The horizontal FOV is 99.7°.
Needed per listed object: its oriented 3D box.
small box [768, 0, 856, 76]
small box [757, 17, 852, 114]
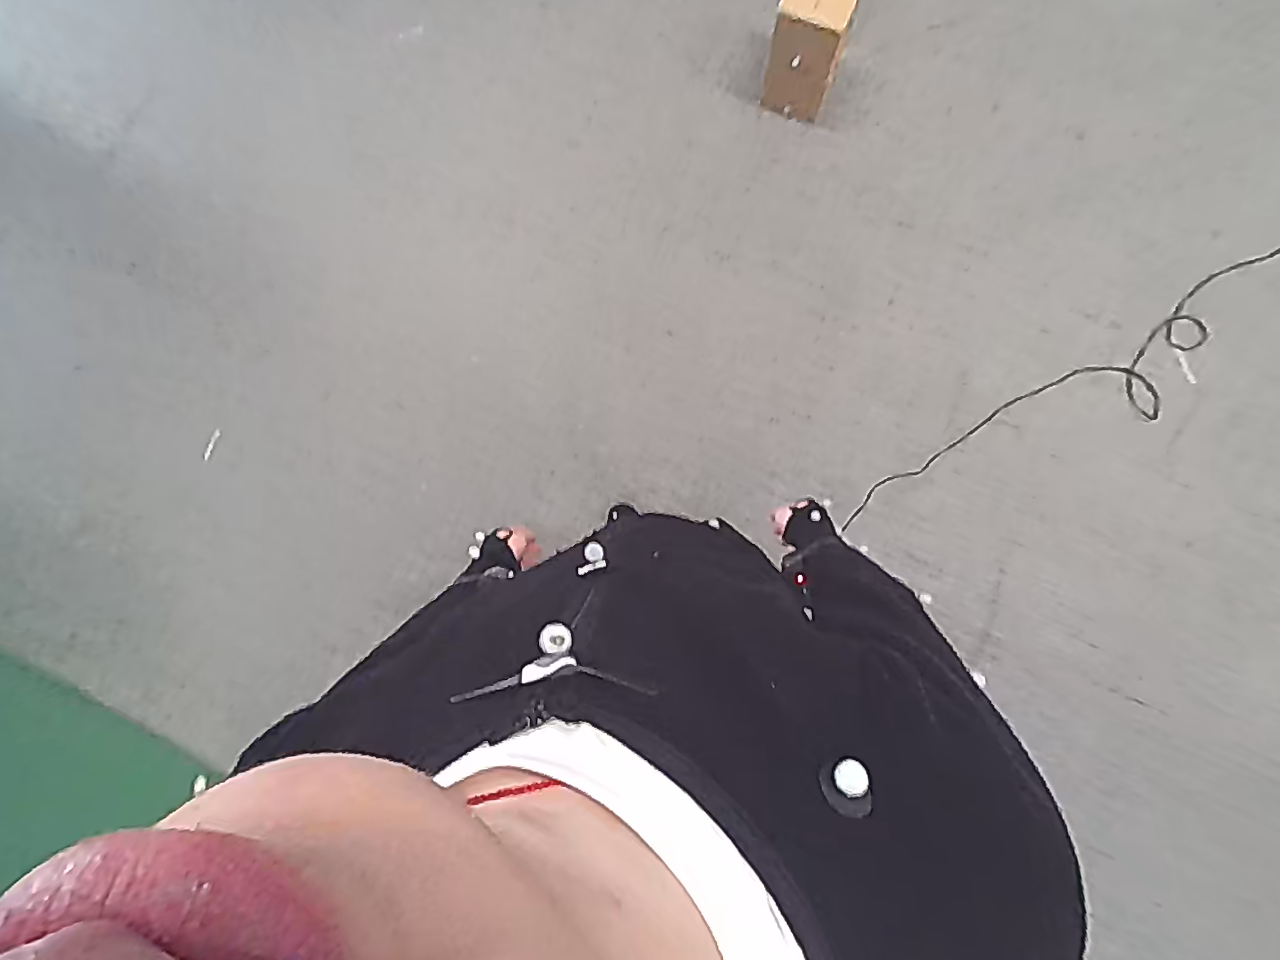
[{"bbox_3d":[0.423,-1.143,1.307,0.168,0.176,0.179,24,91,6],"label":"small box"},{"bbox_3d":[0.440,-1.146,1.472,0.179,0.176,0.168,25,90,5],"label":"small box"}]
